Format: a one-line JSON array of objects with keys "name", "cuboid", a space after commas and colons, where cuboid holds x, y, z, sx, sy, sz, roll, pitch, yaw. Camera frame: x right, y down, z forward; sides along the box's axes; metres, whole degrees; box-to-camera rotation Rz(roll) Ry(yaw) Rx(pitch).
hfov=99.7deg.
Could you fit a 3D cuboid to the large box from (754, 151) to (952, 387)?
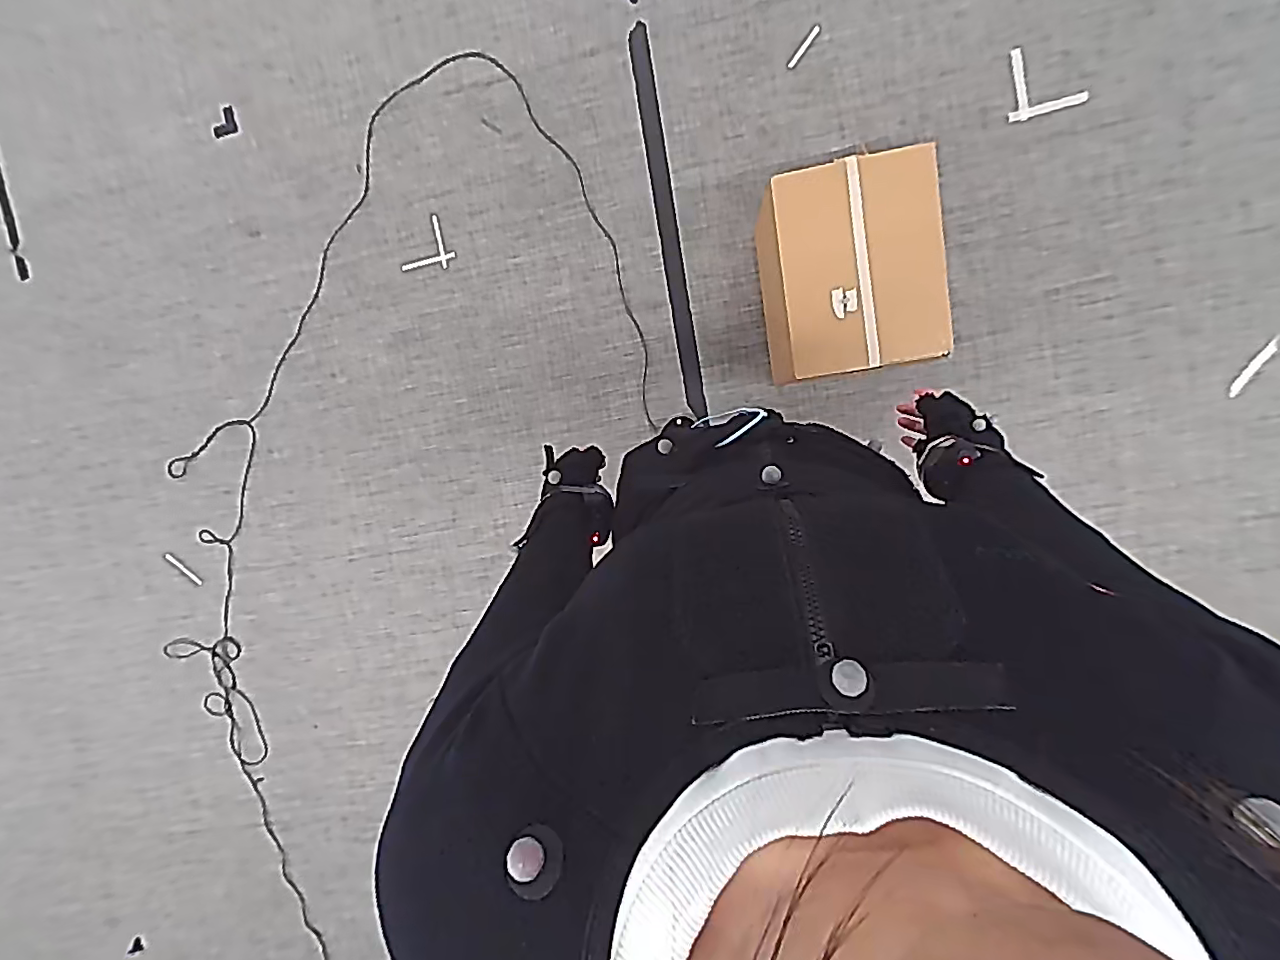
[{"name": "large box", "cuboid": [0.456, -0.439, 1.225, 0.320, 0.320, 0.408, -9, 97, 8]}]
